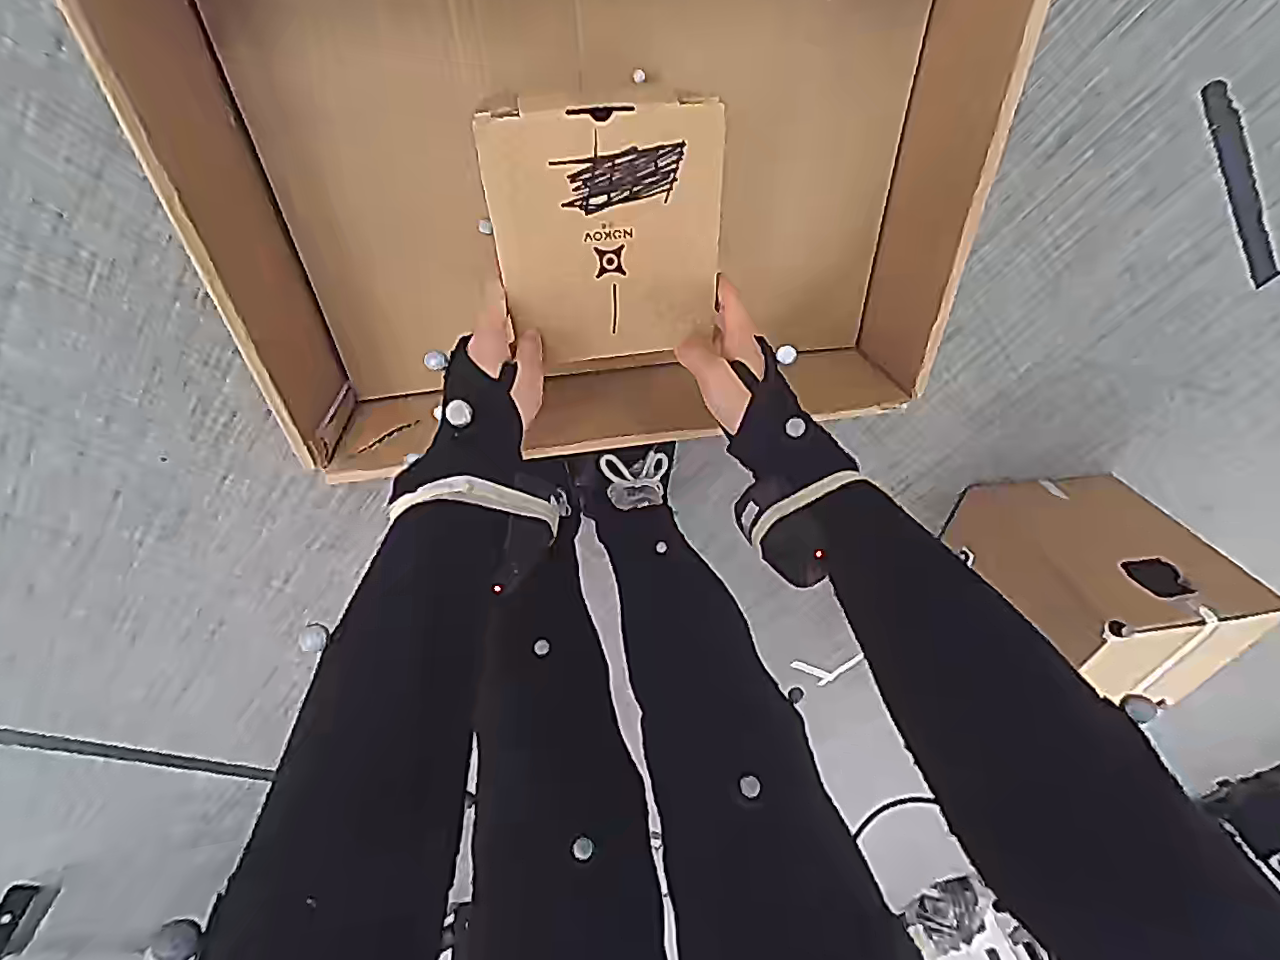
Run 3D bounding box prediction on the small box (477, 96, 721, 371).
[{"bbox_3d":[-0.038,-0.217,0.462,0.168,0.176,0.179,-8,130,-6],"label":"small box"}]
